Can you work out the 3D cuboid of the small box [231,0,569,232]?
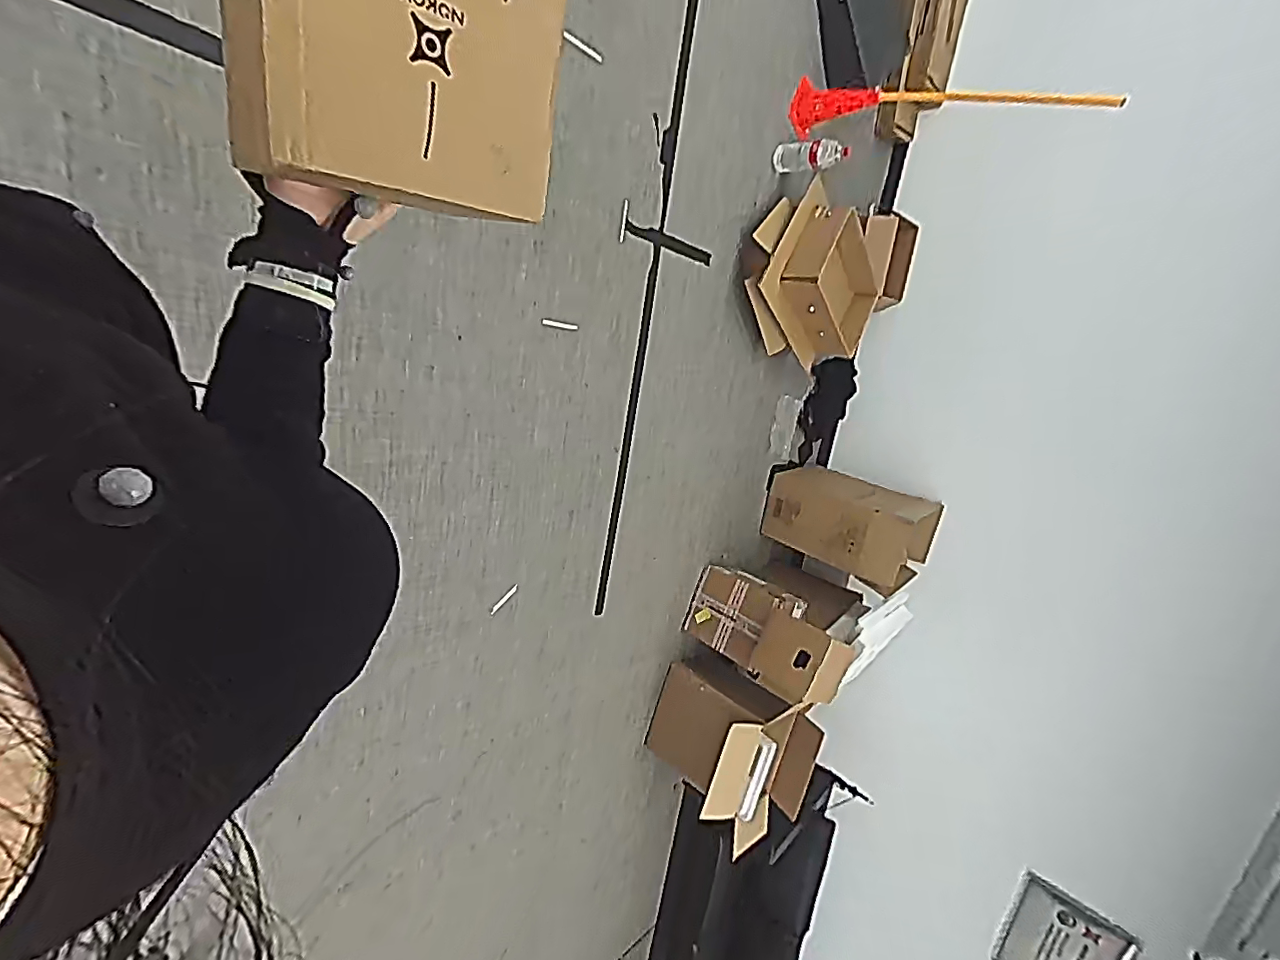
[{"bbox_3d":[-0.169,-0.285,0.370,0.168,0.176,0.179,-7,117,-41],"label":"small box"}]
